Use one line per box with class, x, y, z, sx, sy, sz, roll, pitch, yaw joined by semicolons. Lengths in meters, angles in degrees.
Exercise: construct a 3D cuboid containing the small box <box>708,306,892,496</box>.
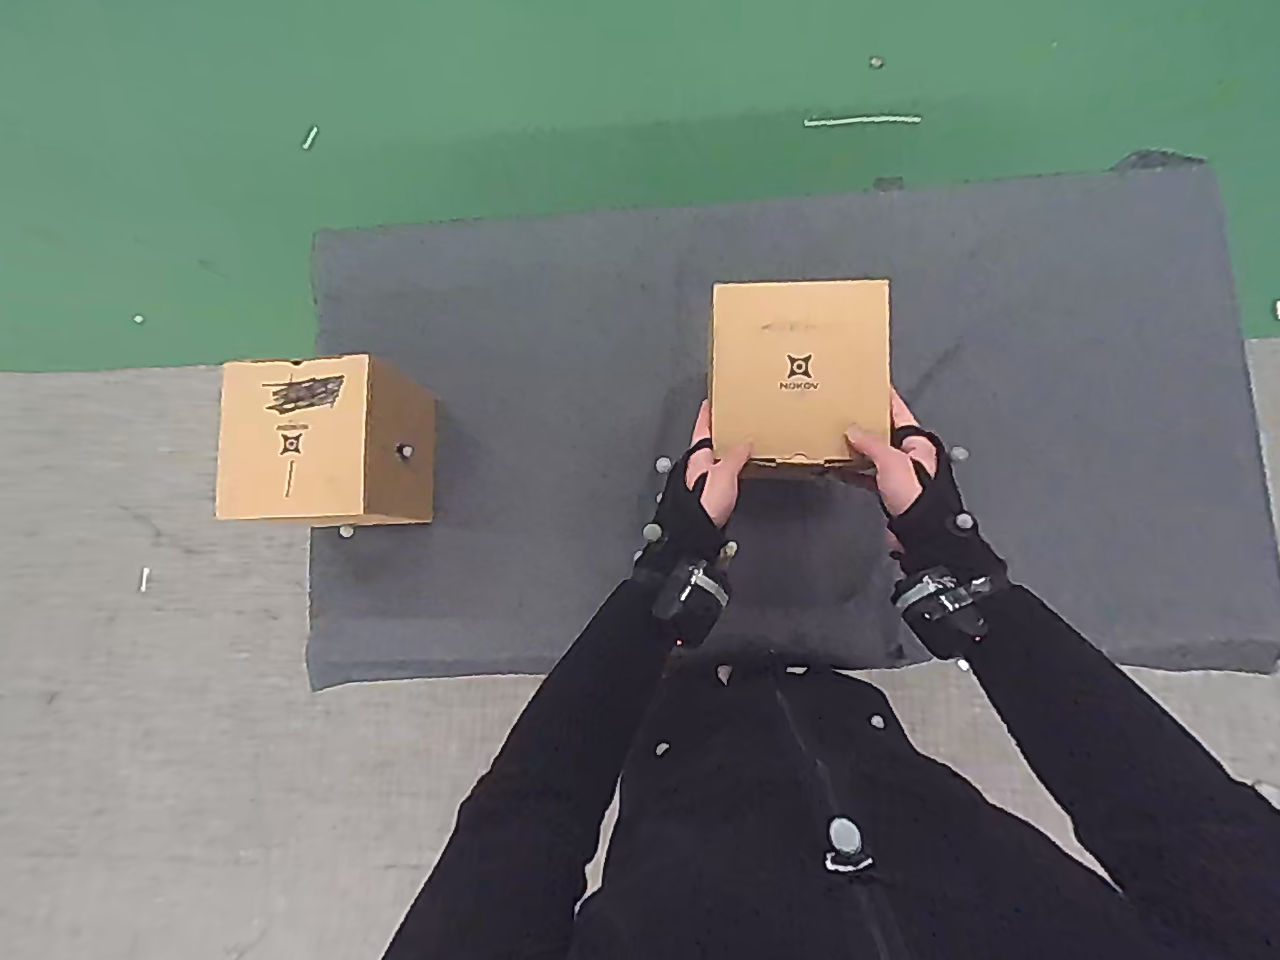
small box;0.163;-0.073;0.599;0.168;0.176;0.179;-1;83;5
